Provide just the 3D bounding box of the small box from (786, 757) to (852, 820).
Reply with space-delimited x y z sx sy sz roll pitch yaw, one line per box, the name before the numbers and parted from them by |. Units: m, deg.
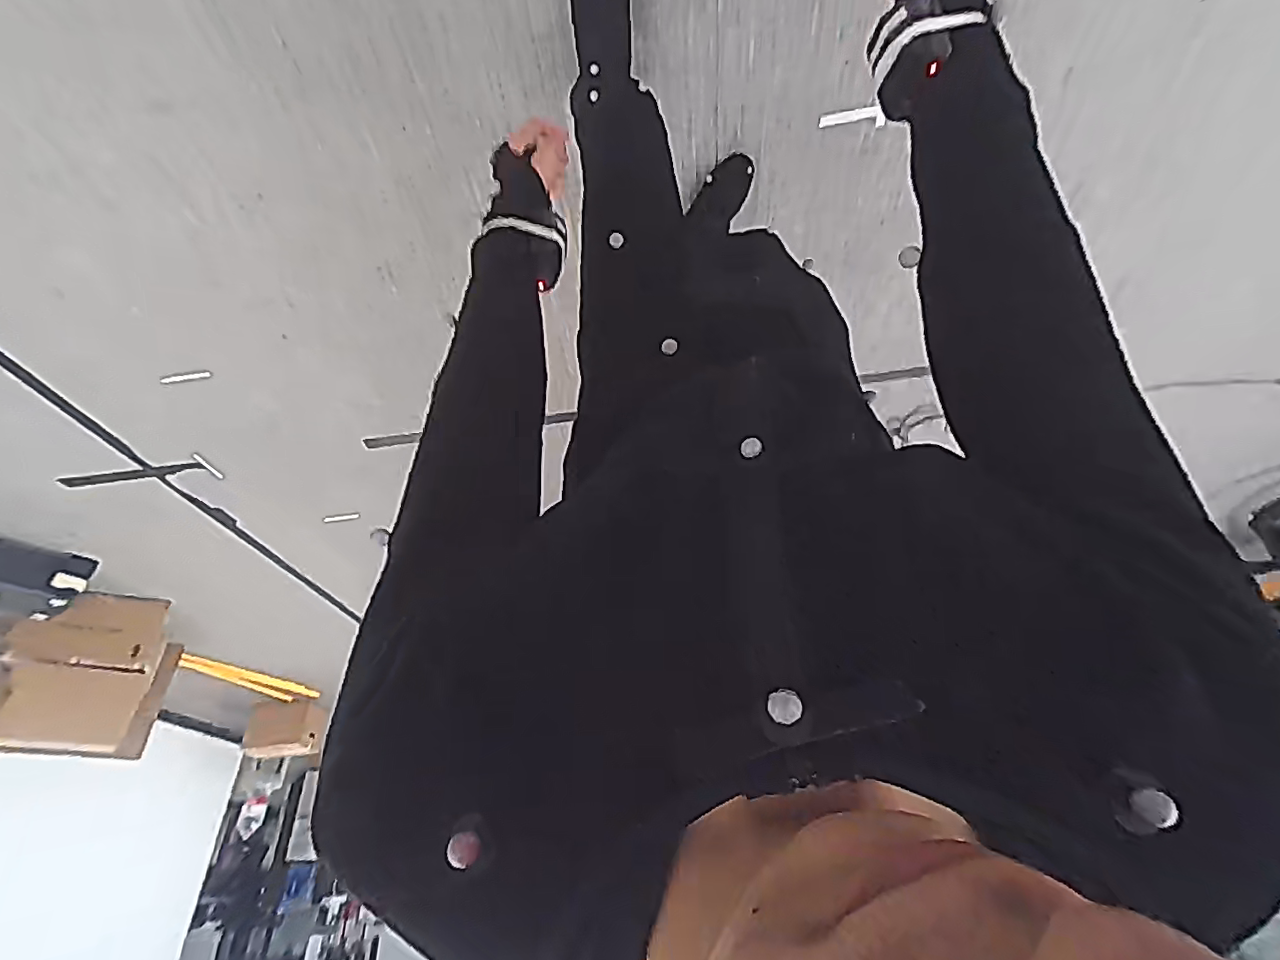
small box | 0.627 1.094 1.921 0.168 0.176 0.179 -8 144 0
